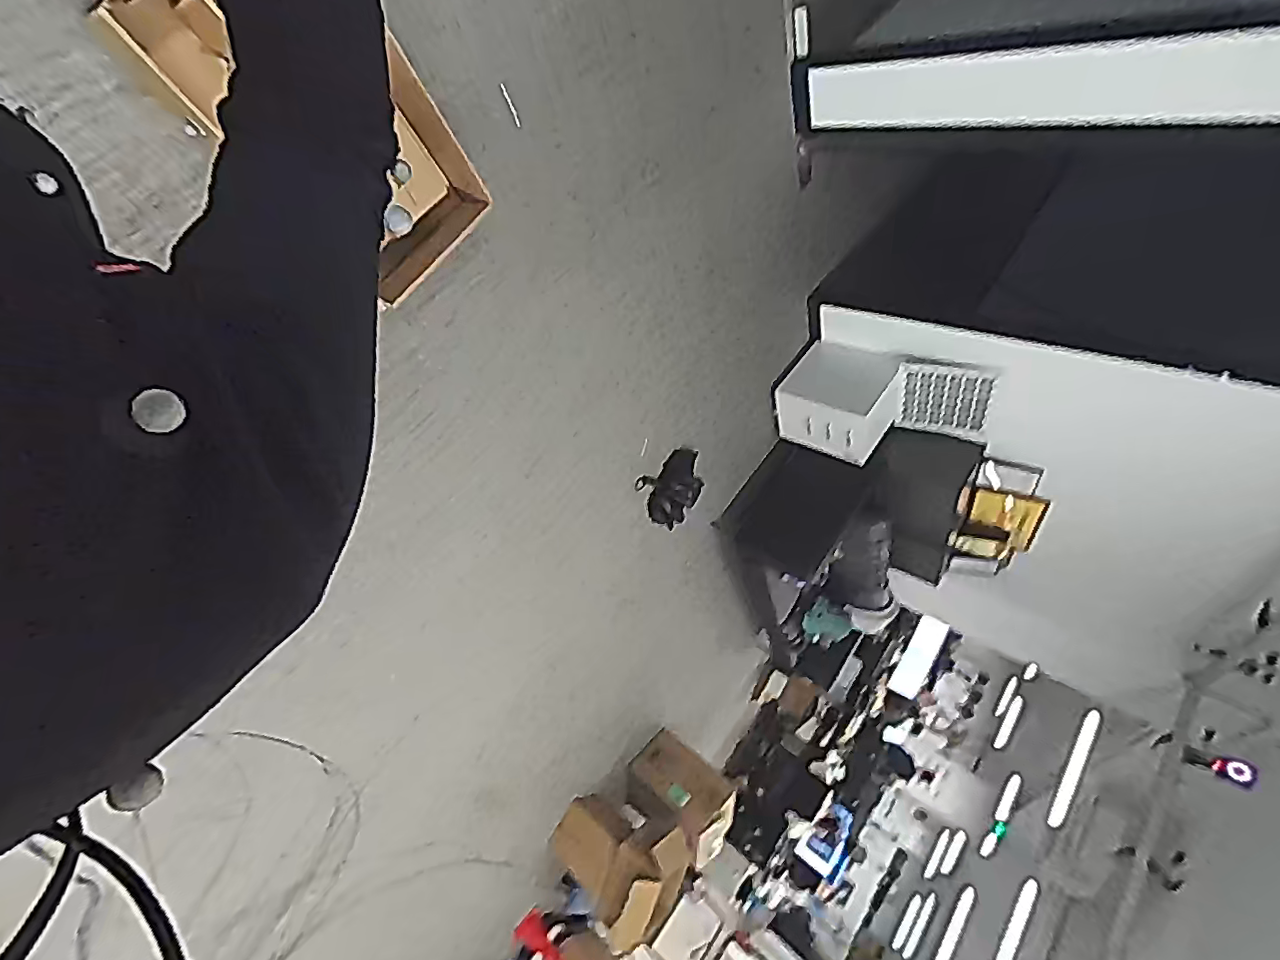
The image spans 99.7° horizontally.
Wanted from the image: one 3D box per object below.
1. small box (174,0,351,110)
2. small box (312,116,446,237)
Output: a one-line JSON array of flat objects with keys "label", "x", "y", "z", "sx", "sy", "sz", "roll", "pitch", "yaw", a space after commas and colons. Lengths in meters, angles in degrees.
[{"label": "small box", "x": -0.679, "y": -0.812, "z": 0.979, "sx": 0.168, "sy": 0.176, "sz": 0.179, "roll": -56, "pitch": 146, "yaw": -13}, {"label": "small box", "x": -0.579, "y": -0.668, "z": 1.199, "sx": 0.168, "sy": 0.176, "sz": 0.179, "roll": -53, "pitch": 143, "yaw": -16}]
